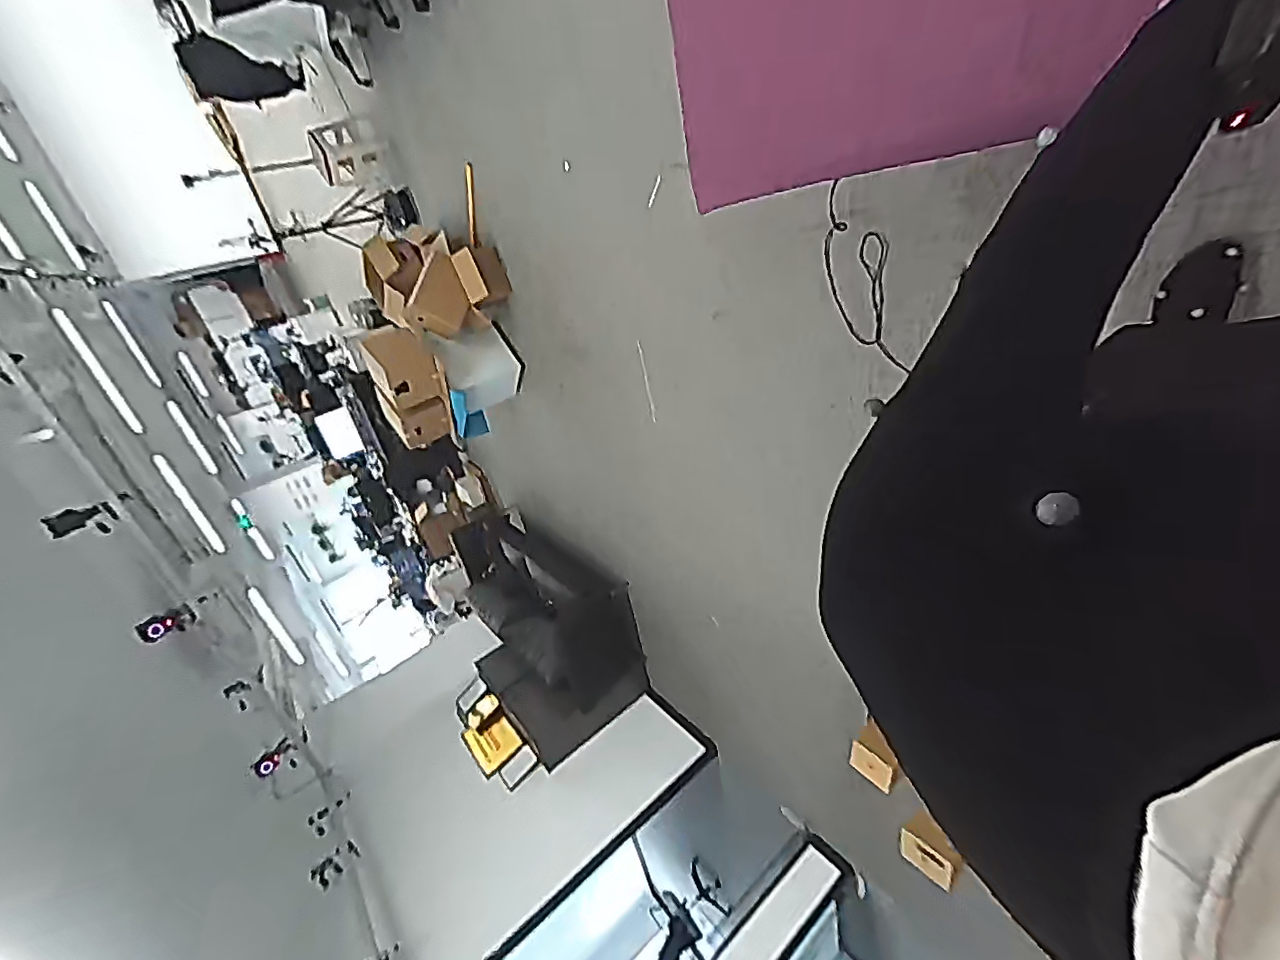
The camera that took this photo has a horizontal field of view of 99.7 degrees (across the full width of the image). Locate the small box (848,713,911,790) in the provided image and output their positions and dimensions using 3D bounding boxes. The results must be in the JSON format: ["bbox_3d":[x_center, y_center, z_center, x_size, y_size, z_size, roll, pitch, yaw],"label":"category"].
[{"bbox_3d":[0.954,1.075,2.153,0.168,0.176,0.179,29,138,44],"label":"small box"}]
